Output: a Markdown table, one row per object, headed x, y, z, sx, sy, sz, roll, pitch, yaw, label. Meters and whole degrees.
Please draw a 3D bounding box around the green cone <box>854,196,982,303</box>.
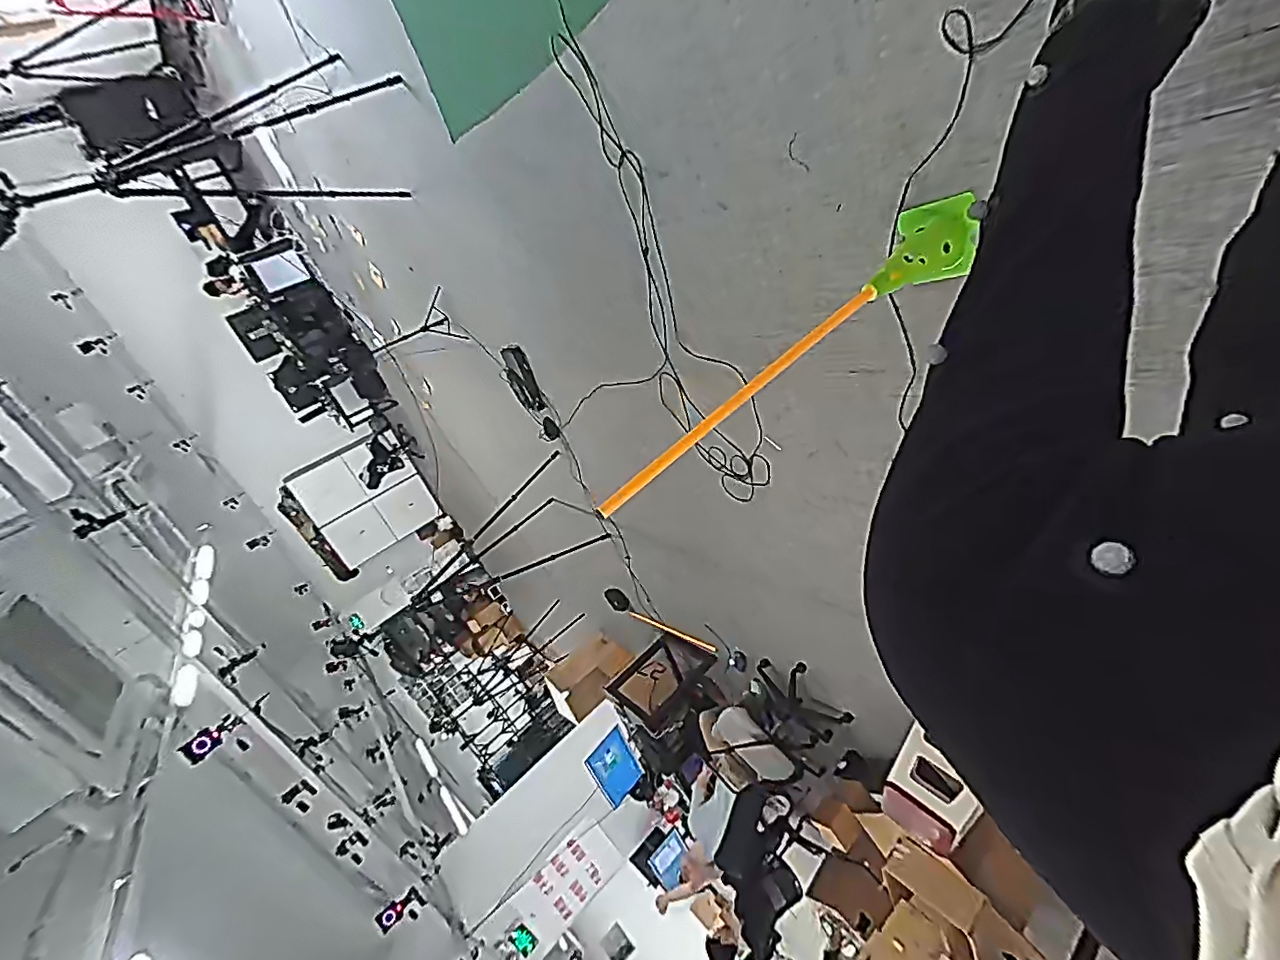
| x | y | z | sx | sy | sz | roll | pitch | yaw | label |
| --- | --- | --- | --- | --- | --- | --- | --- | --- | --- |
| 0.666 | -0.541 | 1.366 | 0.202 | 0.368 | 0.200 | 11 | 131 | 56 | green cone |
